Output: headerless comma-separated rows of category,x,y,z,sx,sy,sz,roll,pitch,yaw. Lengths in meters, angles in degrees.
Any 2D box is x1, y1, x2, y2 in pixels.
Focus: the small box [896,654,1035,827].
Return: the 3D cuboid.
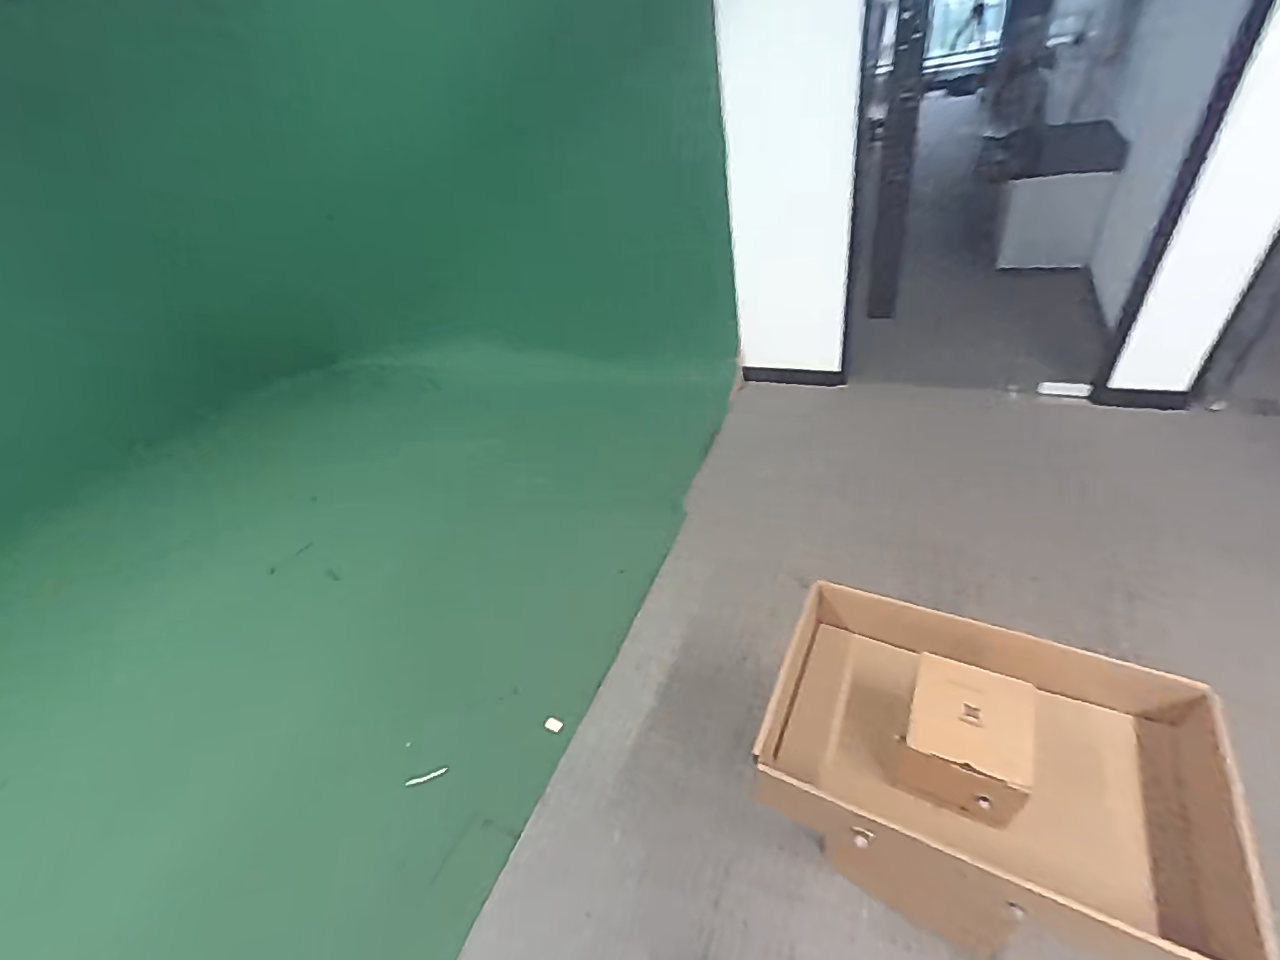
small box,0.532,0.430,0.895,0.168,0.176,0.179,12,44,25
